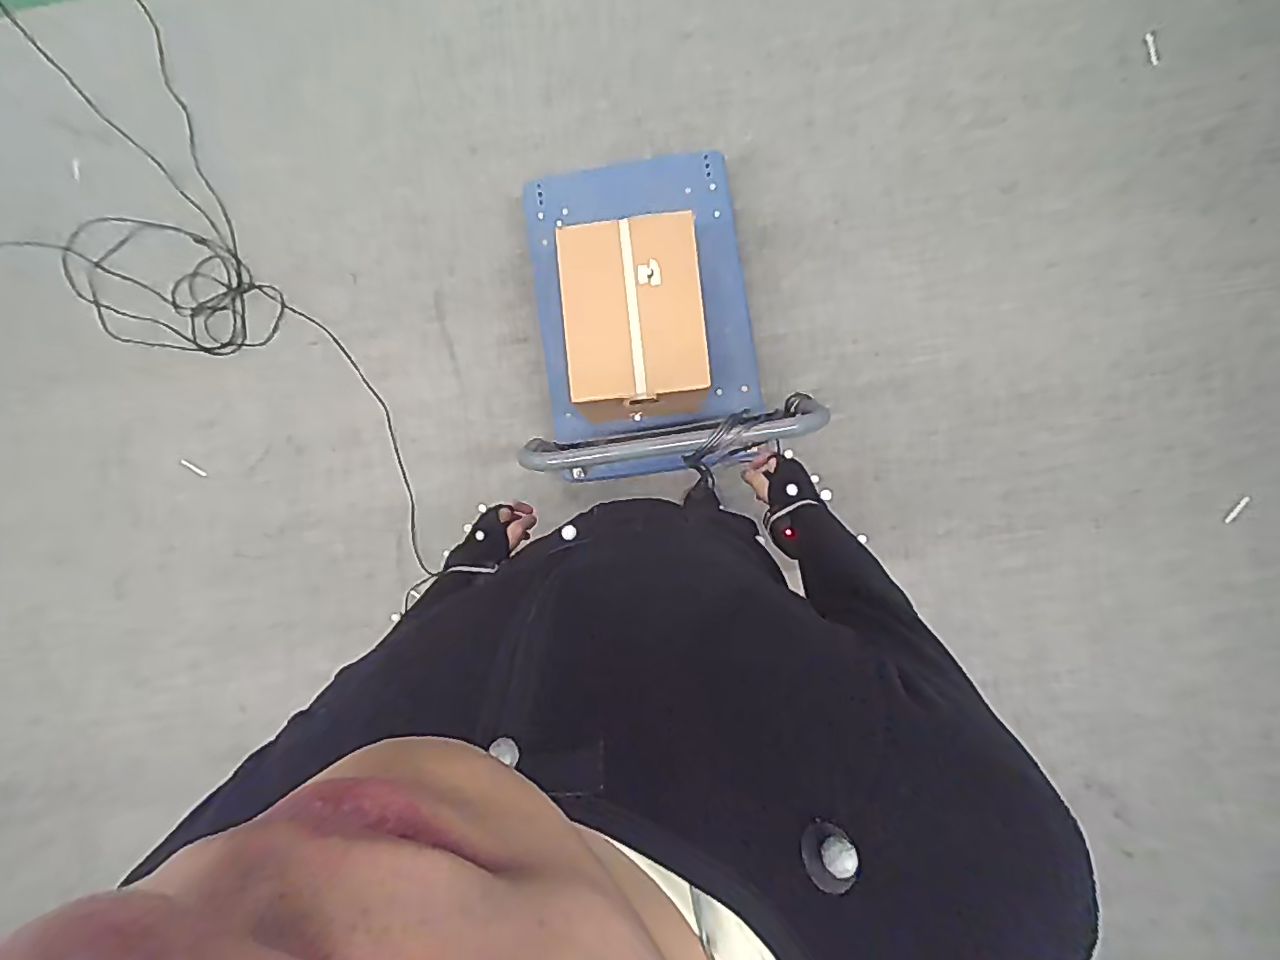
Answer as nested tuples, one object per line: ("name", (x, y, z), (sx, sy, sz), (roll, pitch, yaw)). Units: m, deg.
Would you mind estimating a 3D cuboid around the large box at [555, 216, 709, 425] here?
("large box", (-0.012, -0.373, 1.357), (0.320, 0.320, 0.408), (-6, 86, 2))
